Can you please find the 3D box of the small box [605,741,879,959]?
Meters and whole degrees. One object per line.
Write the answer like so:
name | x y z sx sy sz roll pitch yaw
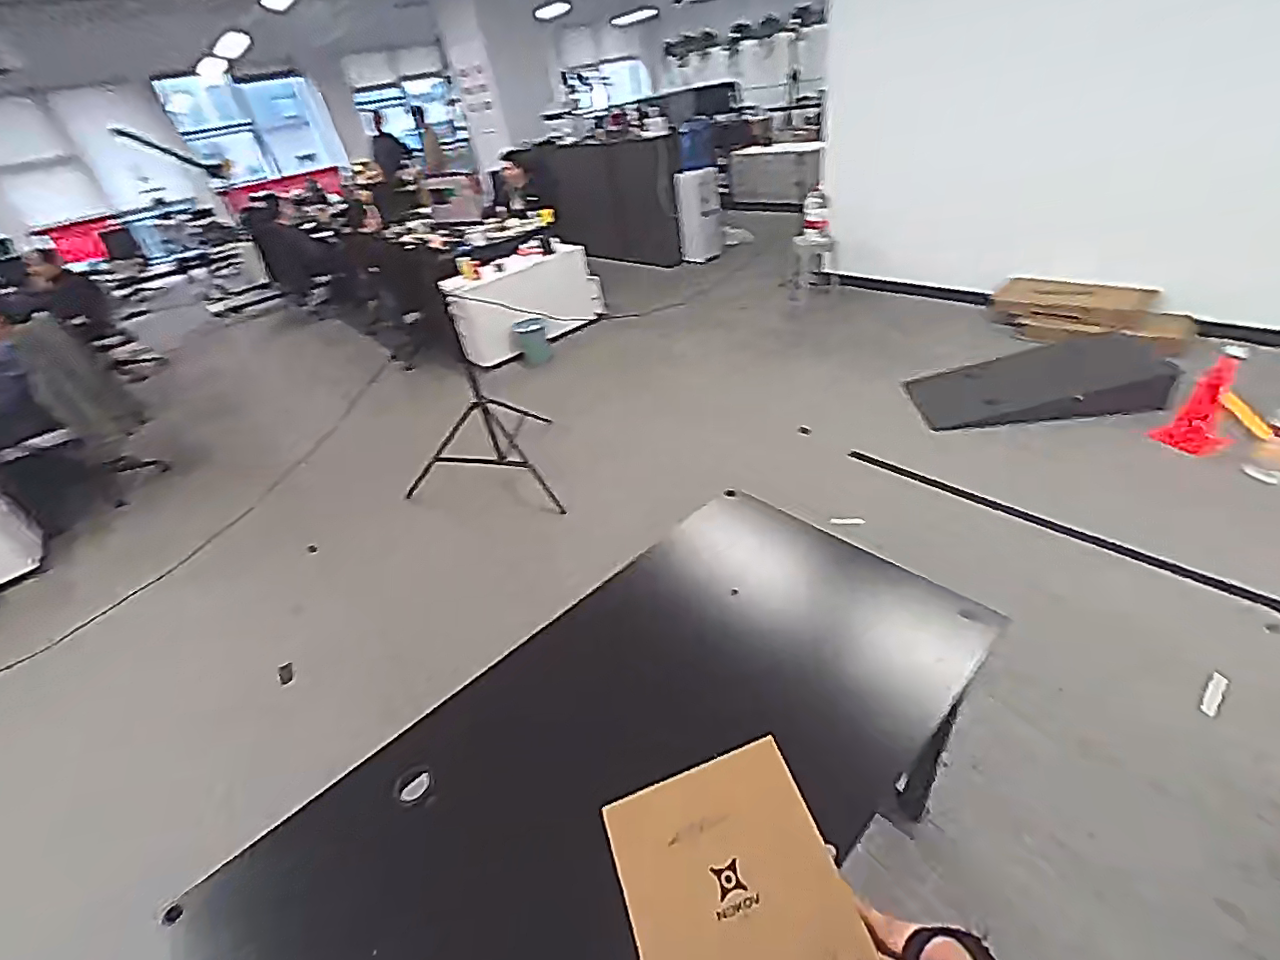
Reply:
small box | 0.082 0.371 0.481 0.168 0.176 0.179 -19 47 -8
